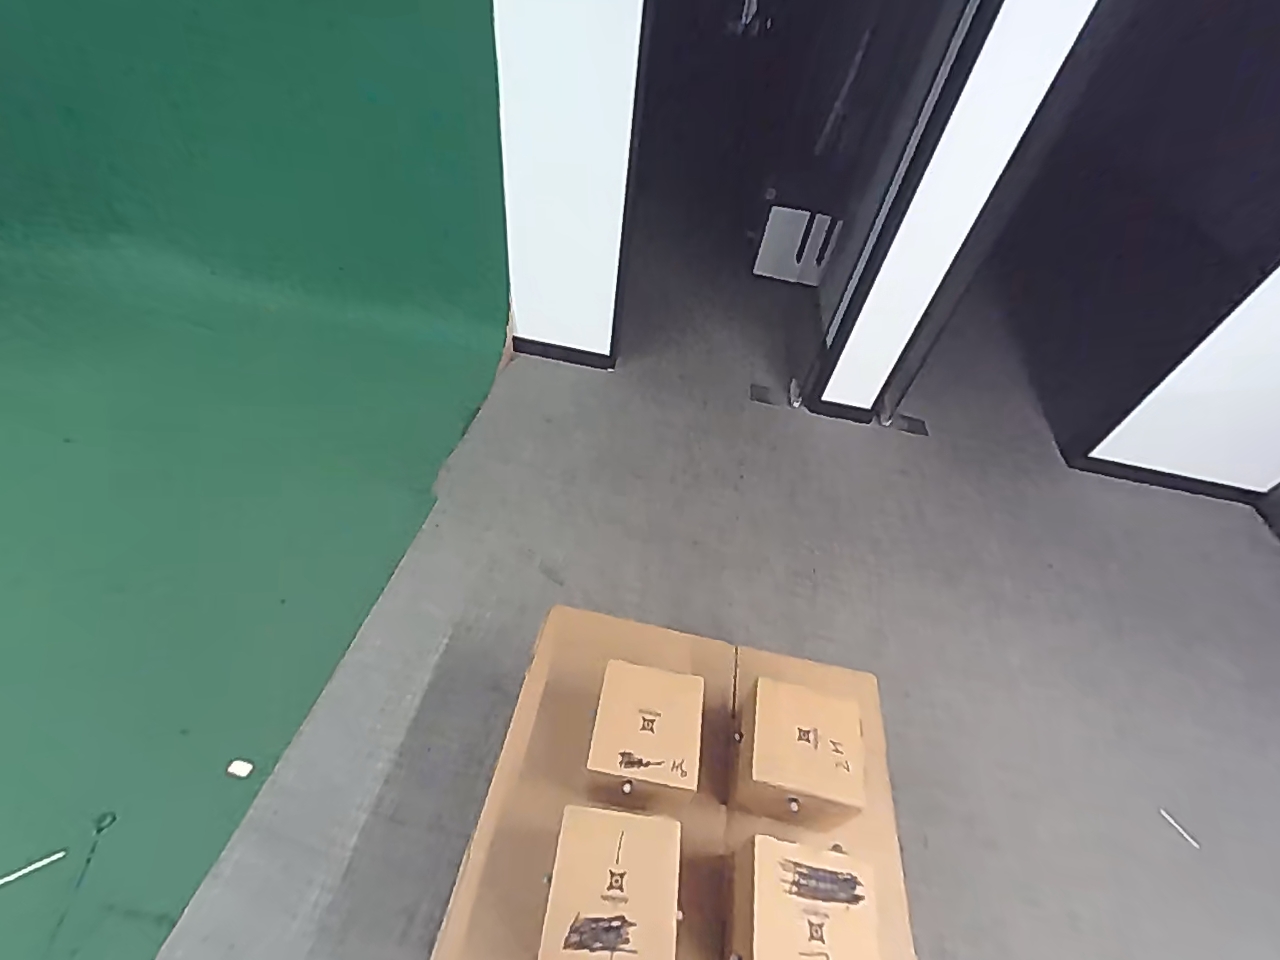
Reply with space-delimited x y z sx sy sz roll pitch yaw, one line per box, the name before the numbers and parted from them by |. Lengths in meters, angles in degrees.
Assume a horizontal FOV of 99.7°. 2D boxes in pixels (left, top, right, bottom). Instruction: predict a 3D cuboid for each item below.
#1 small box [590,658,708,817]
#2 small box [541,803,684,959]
small box | 0.013 0.426 0.896 0.168 0.176 0.179 9 45 3
small box | -0.035 0.576 0.748 0.168 0.176 0.179 8 46 -1
